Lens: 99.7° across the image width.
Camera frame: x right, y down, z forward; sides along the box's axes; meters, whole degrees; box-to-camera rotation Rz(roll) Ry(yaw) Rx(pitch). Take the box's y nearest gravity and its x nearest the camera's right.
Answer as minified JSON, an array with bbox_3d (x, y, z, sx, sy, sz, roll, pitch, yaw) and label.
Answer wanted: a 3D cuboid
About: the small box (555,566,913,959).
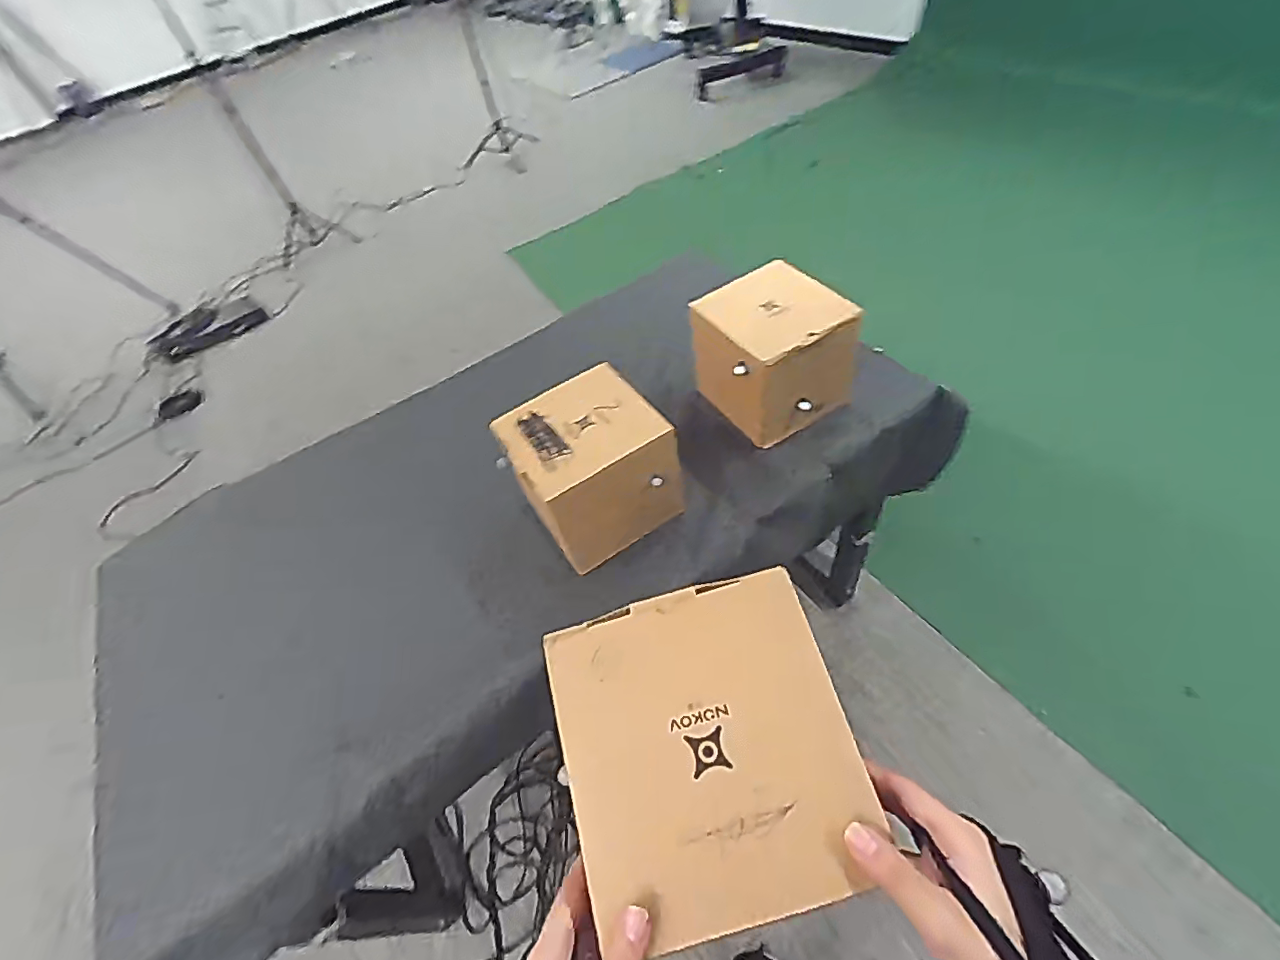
[{"bbox_3d":[0.050,0.183,0.383,0.168,0.176,0.179,-16,65,0],"label":"small box"}]

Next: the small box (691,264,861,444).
[{"bbox_3d":[0.194,-0.186,0.810,0.168,0.176,0.179,-30,53,-12],"label":"small box"}]
